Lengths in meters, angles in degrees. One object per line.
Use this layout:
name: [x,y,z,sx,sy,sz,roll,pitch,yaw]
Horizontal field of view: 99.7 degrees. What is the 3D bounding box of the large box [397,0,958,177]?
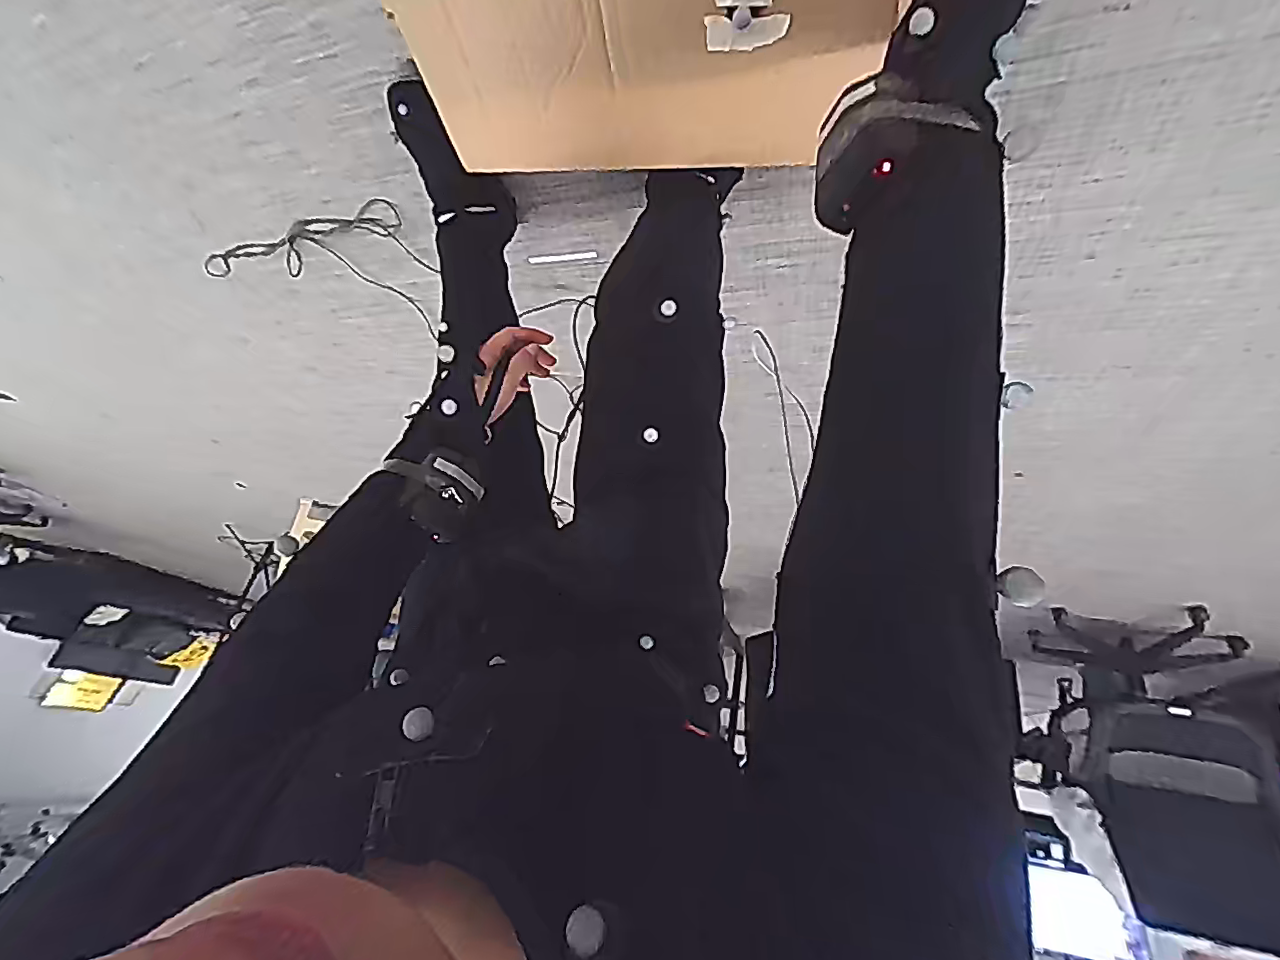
large box: [0.033,-0.483,0.421,0.408,0.320,0.320,6,152,13]
